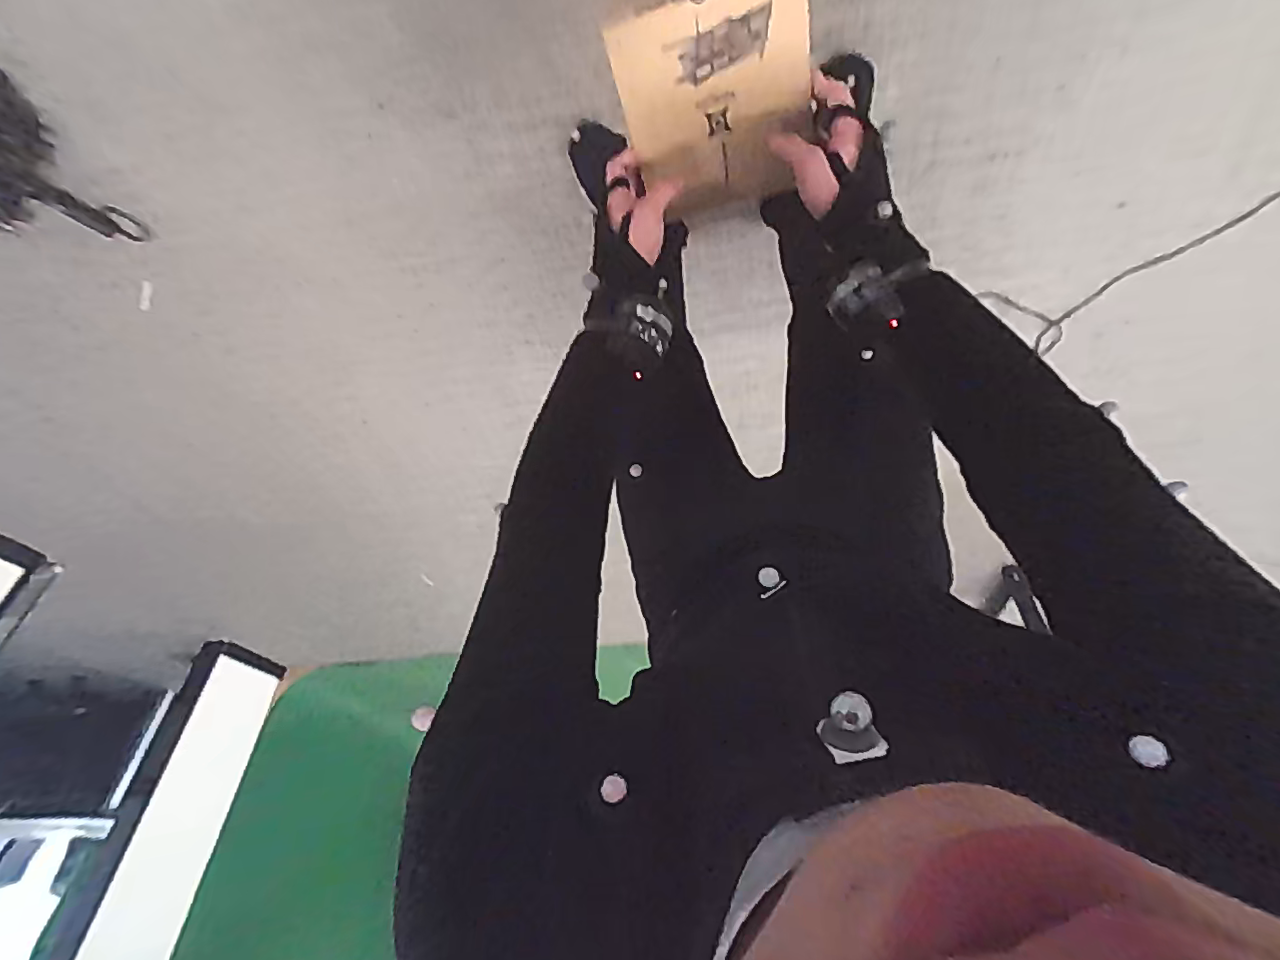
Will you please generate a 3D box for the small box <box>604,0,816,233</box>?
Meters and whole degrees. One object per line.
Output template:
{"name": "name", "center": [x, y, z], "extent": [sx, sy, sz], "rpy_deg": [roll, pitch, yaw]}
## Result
{"name": "small box", "center": [0.072, -0.384, 0.530], "extent": [0.168, 0.176, 0.179], "rpy_deg": [-9, 142, 15]}
